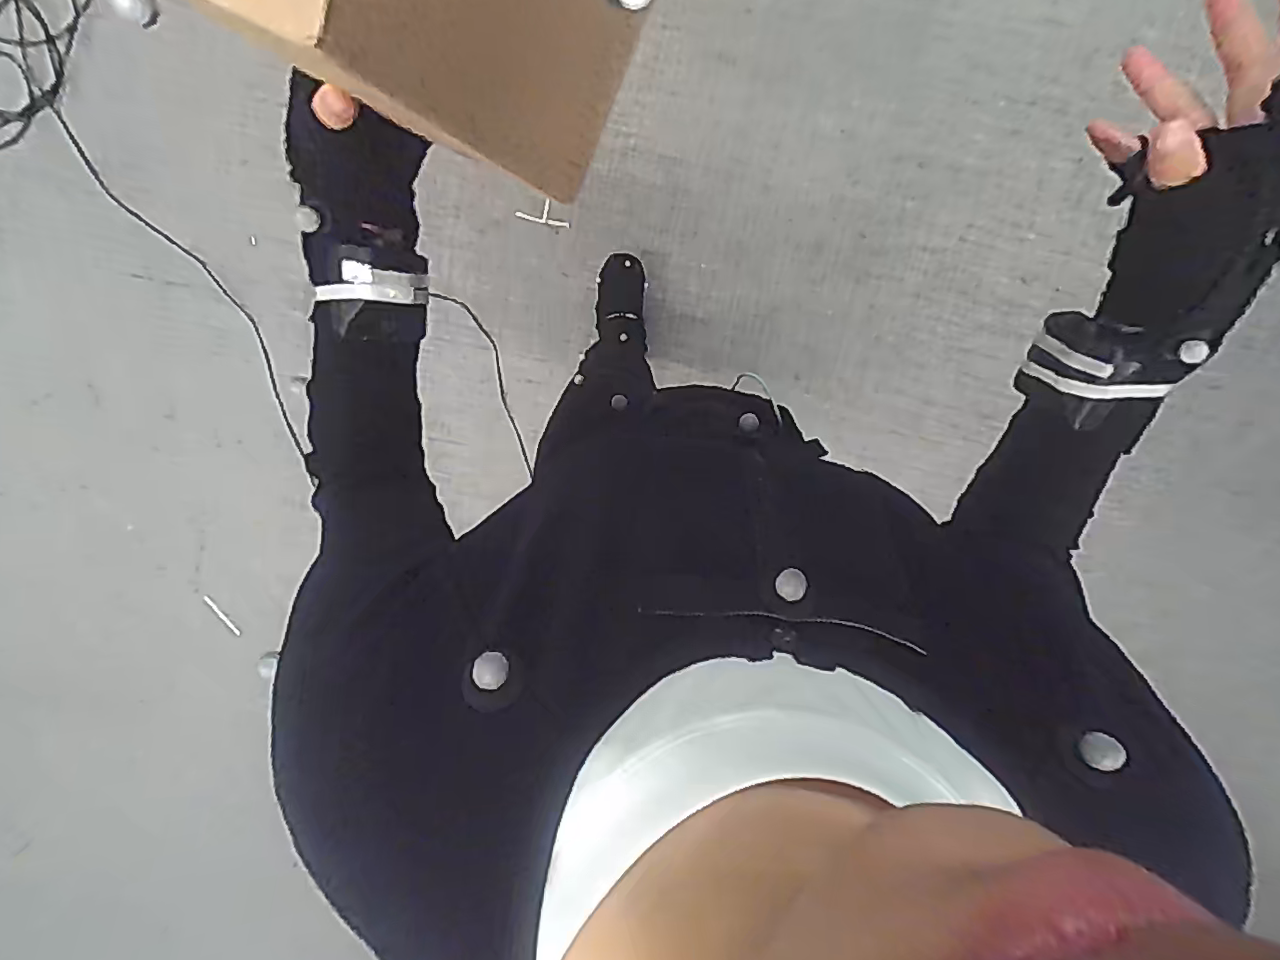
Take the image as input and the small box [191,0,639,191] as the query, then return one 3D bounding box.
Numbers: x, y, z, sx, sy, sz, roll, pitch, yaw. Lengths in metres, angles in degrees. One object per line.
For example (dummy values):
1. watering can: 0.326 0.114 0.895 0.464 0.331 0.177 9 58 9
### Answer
1. small box: -0.095 -0.242 0.194 0.168 0.176 0.179 30 109 8
